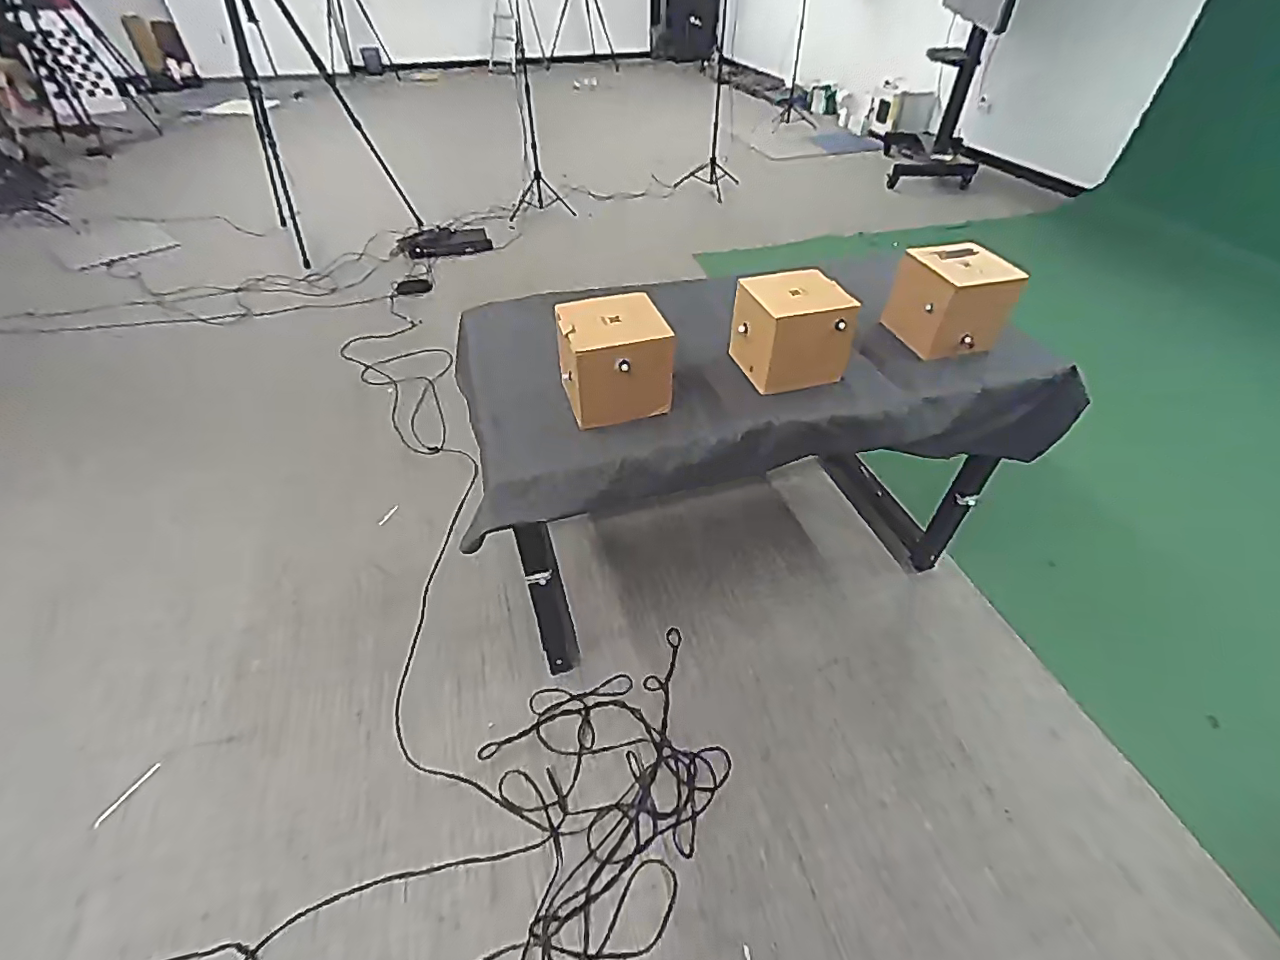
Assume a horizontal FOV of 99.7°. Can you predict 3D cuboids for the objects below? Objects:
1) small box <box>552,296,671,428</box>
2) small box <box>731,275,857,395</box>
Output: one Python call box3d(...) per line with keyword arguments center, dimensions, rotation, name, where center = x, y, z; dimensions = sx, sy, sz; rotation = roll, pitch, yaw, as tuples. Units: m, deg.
box3d(center=(-0.053, -0.214, 0.990), dimensions=(0.179, 0.176, 0.168), rotation=(-12, 47, -14), name="small box")
box3d(center=(0.290, -0.284, 1.067), dimensions=(0.179, 0.176, 0.168), rotation=(-11, 45, -13), name="small box")
